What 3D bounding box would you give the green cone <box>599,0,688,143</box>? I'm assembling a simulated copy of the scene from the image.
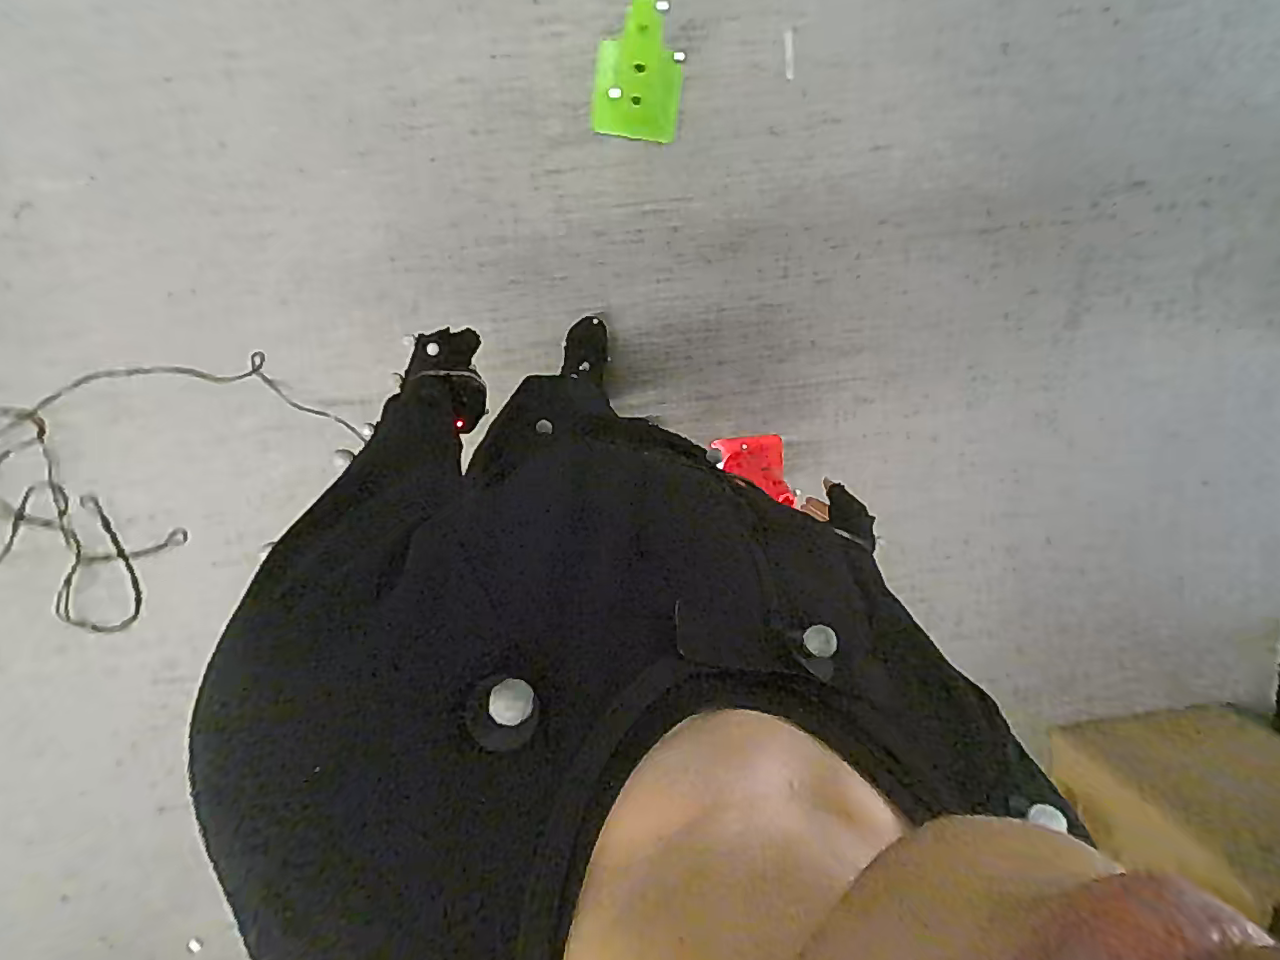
[{"bbox_3d":[0.013,-0.899,1.130,0.200,0.368,0.202,6,100,-3],"label":"green cone"}]
